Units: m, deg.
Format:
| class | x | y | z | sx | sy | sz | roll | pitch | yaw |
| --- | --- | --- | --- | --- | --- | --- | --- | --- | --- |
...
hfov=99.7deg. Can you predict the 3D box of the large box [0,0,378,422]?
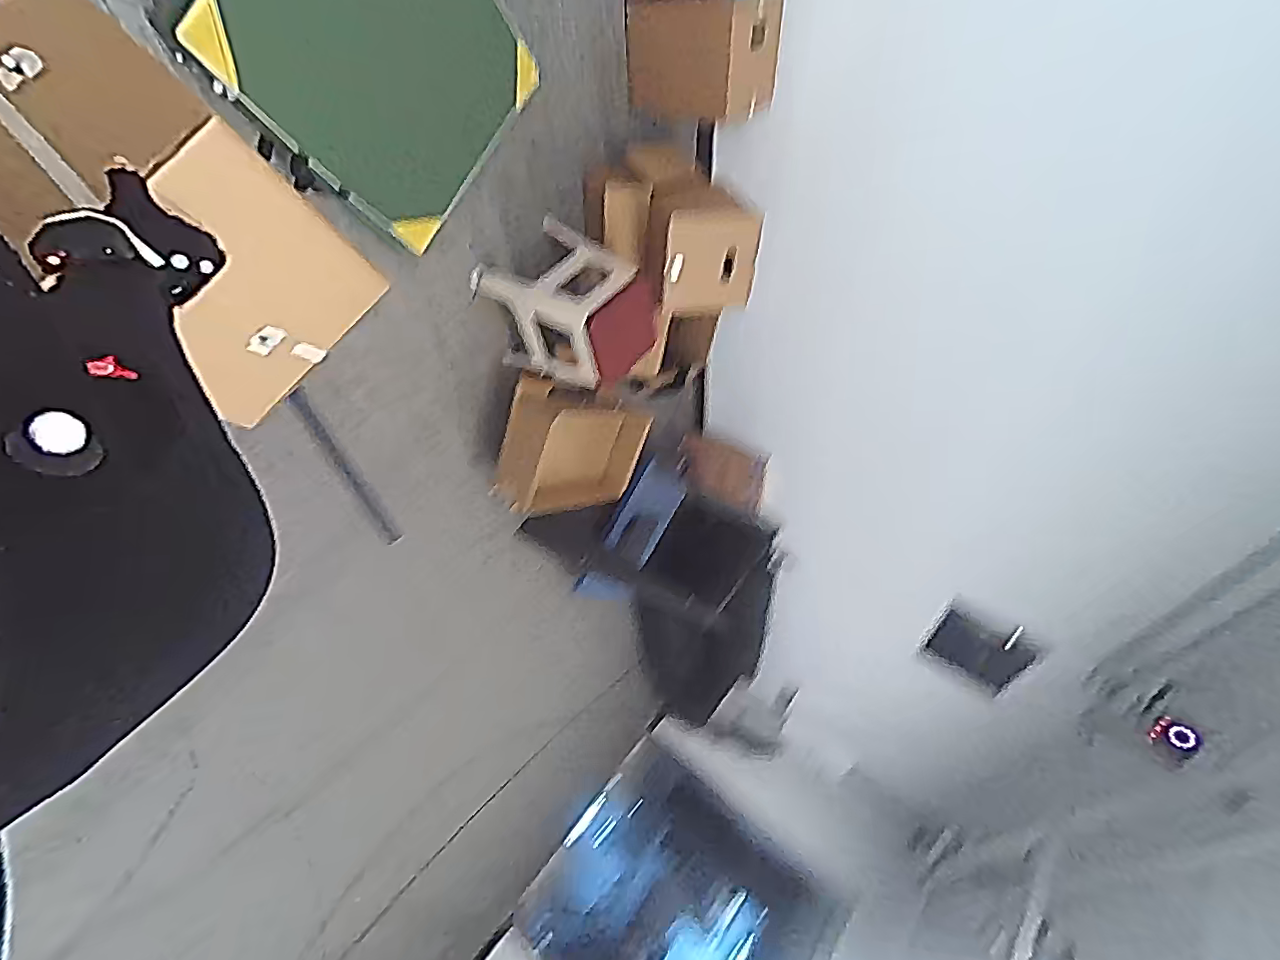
| class | x | y | z | sx | sy | sz | roll | pitch | yaw |
| --- | --- | --- | --- | --- | --- | --- | --- | --- | --- |
| large box | -0.672 | -0.348 | 0.748 | 0.320 | 0.408 | 0.320 | -48 | 165 | -4 |
